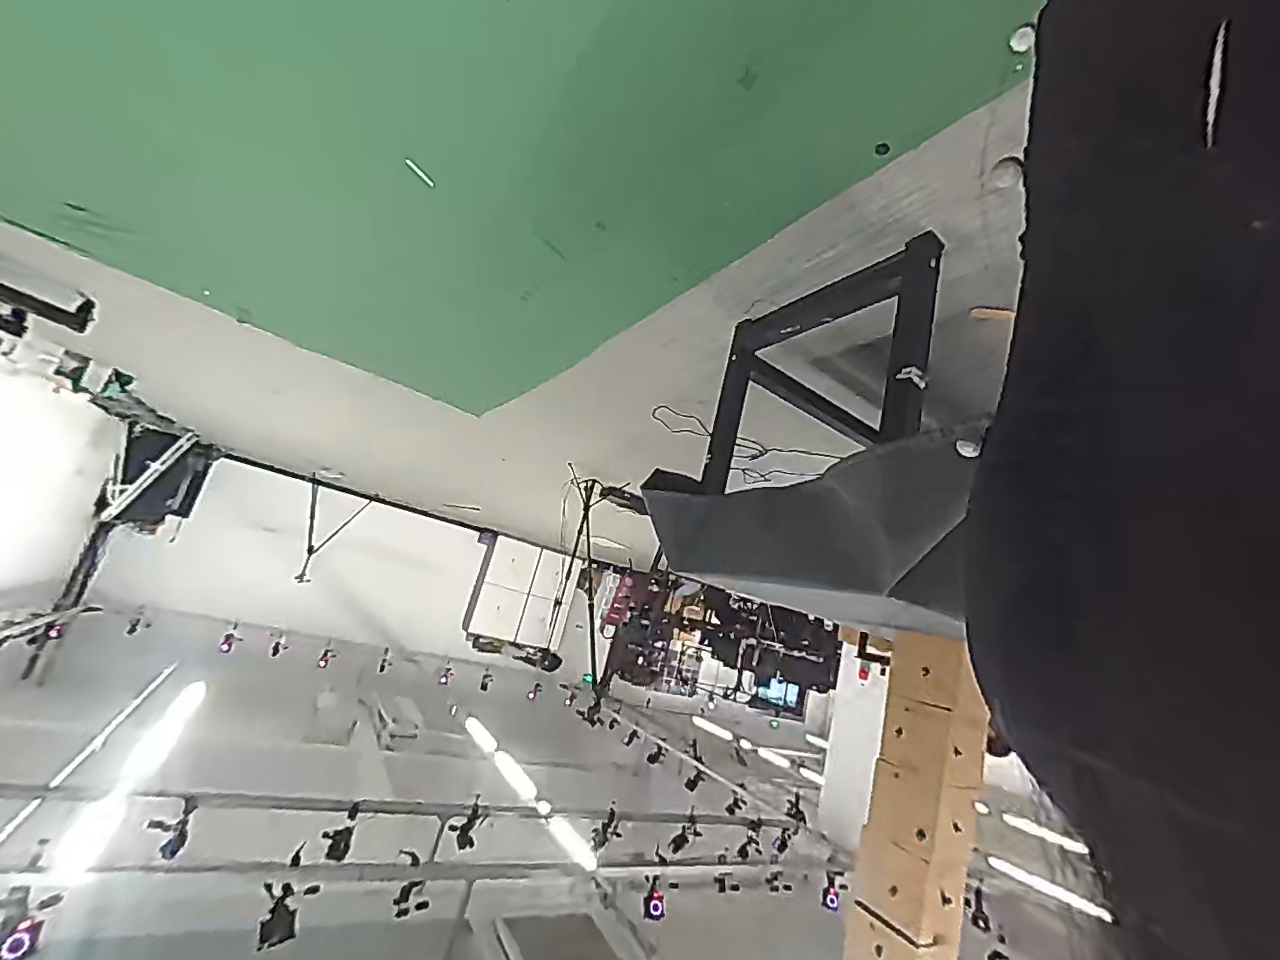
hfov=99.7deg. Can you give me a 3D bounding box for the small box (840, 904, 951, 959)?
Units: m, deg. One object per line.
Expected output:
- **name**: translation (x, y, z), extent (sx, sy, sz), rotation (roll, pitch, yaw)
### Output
- **small box**: translation (0.589, 1.109, 1.246), extent (0.179, 0.176, 0.168), rotation (22, 166, -29)

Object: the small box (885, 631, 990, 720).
- **small box**: translation (0.760, 0.490, 1.378), extent (0.168, 0.176, 0.179), rotation (22, 164, -29)

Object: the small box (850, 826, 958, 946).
- **small box**: translation (0.631, 0.954, 1.287), extent (0.168, 0.176, 0.179), rotation (22, 165, -28)

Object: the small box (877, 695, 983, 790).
- **small box**: translation (0.722, 0.645, 1.344), extent (0.179, 0.176, 0.168), rotation (22, 166, -27)
